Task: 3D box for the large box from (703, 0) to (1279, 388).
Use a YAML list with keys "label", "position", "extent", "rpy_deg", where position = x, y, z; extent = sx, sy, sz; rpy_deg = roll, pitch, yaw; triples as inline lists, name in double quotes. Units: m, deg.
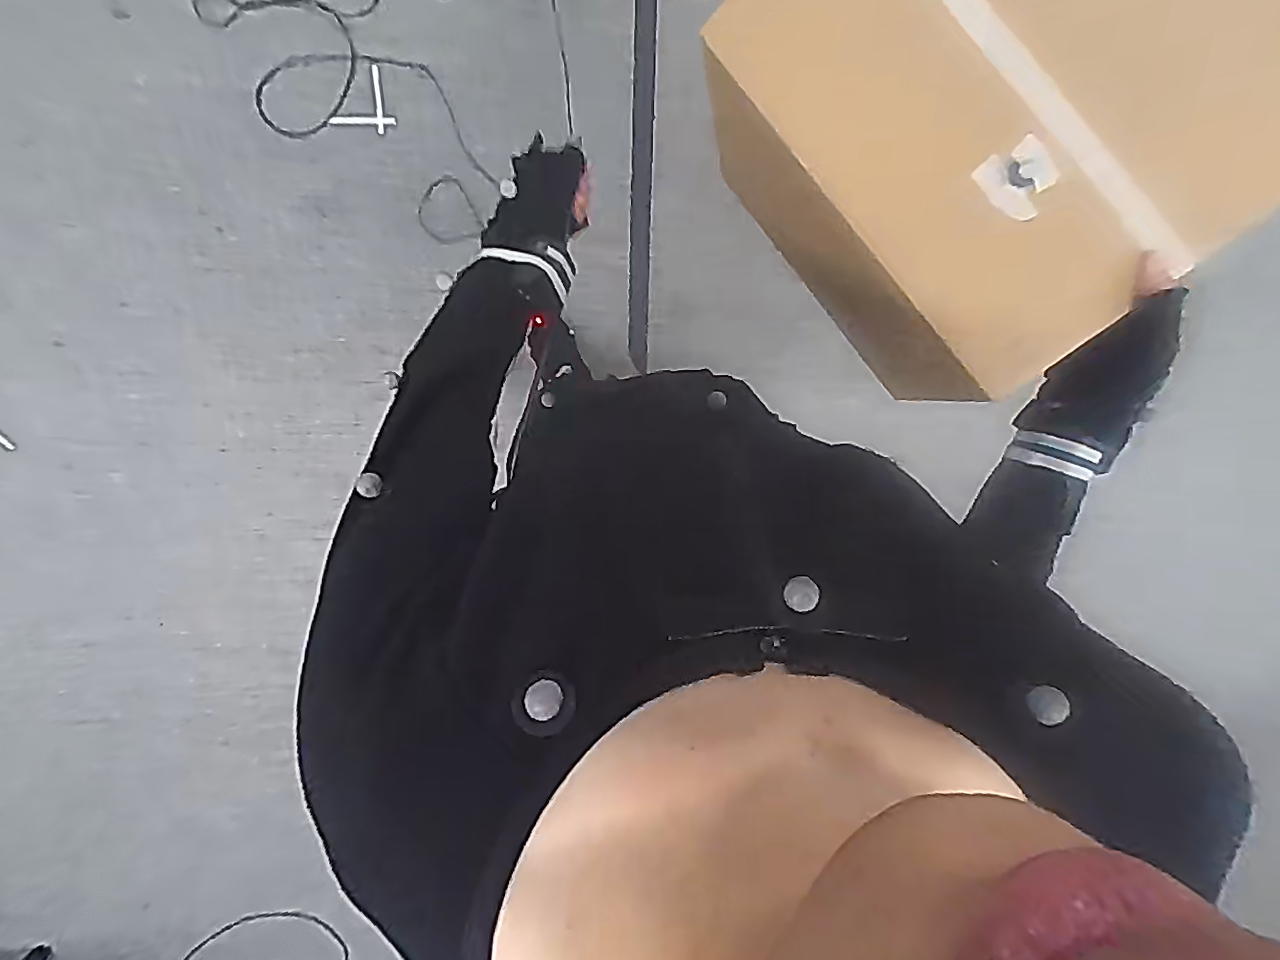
- label: "large box"
  position: [0.317, -0.348, 0.576]
  extent: [0.320, 0.320, 0.408]
  rpy_deg: [-38, 90, 15]
